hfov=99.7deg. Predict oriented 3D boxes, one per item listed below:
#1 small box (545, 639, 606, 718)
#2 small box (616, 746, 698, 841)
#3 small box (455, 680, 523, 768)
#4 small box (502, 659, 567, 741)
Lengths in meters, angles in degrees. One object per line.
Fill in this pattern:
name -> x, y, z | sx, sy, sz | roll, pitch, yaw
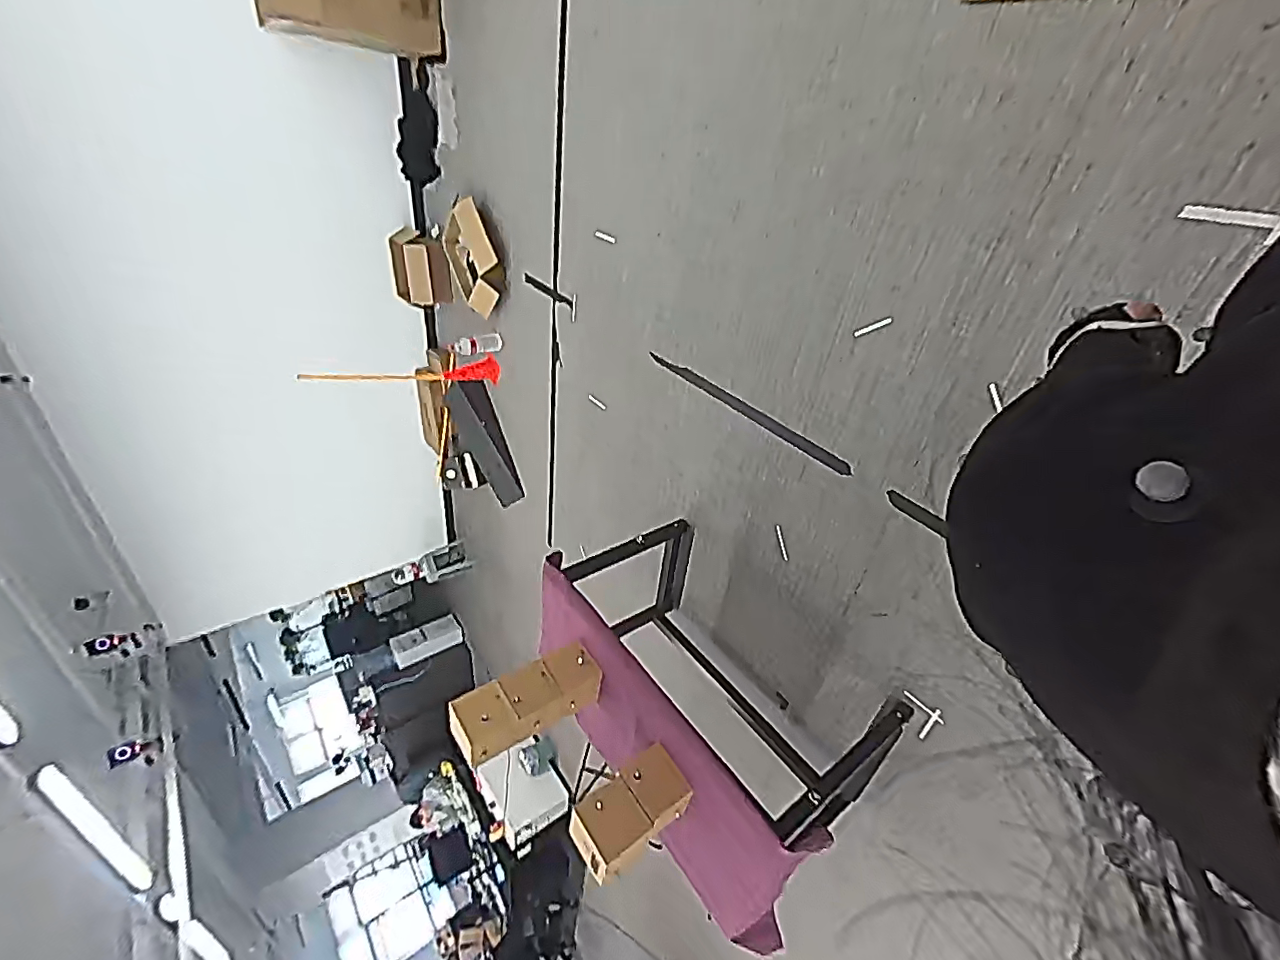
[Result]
small box -> -0.239, 0.721, 1.972 | 0.168, 0.176, 0.179 | 42, 136, 36
small box -> 0.050, 0.962, 1.678 | 0.179, 0.176, 0.168 | 43, 138, 35
small box -> -0.495, 0.800, 1.785 | 0.168, 0.176, 0.179 | 43, 138, 34
small box -> -0.367, 0.761, 1.879 | 0.168, 0.176, 0.179 | 44, 138, 34
